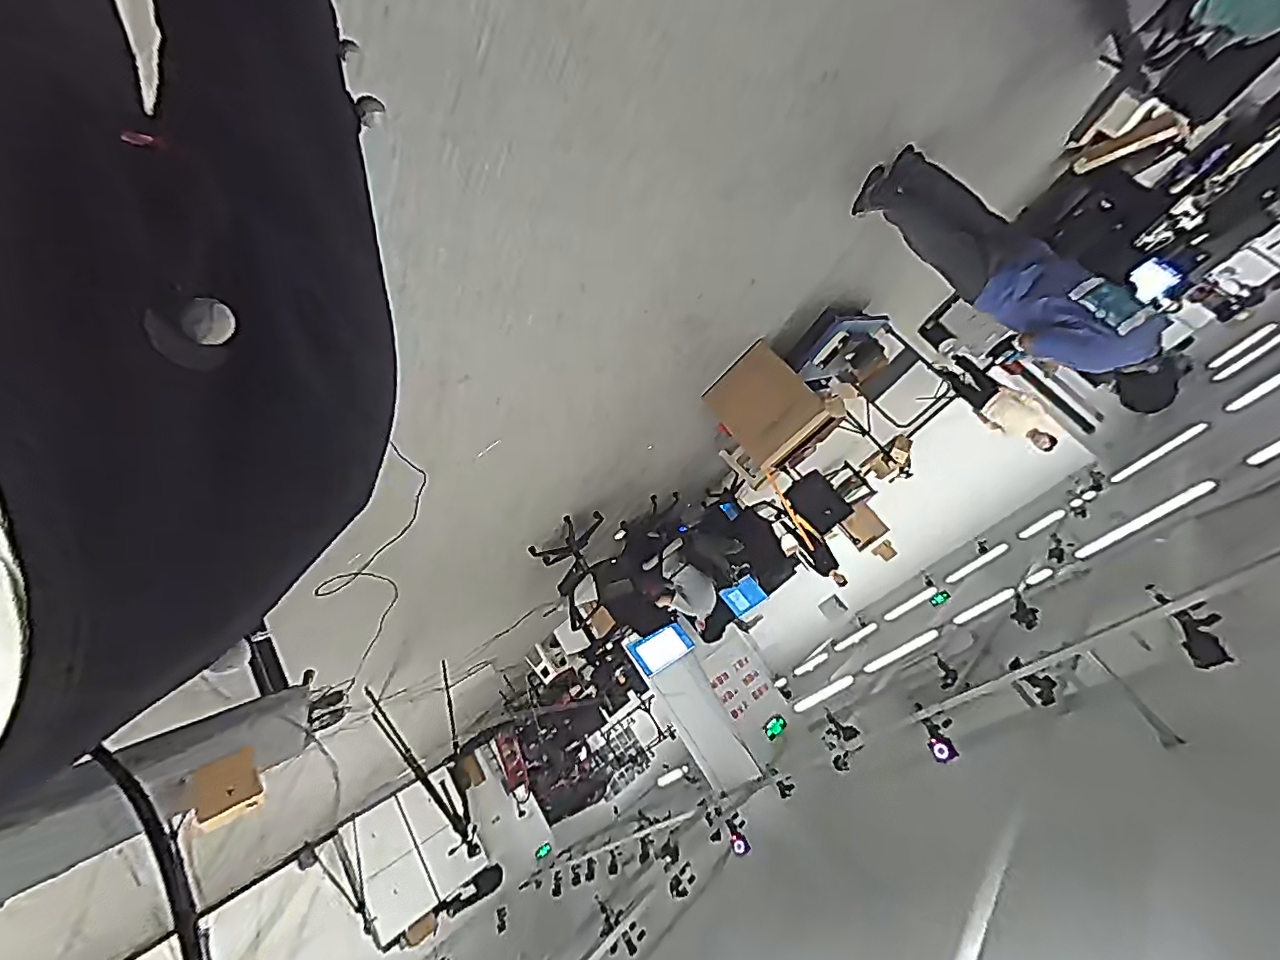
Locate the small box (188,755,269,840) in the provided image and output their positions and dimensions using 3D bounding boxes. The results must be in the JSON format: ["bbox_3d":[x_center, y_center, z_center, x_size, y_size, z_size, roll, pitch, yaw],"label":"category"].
[{"bbox_3d":[-1.379,1.060,1.816,0.179,0.176,0.168,-18,152,-40],"label":"small box"}]
